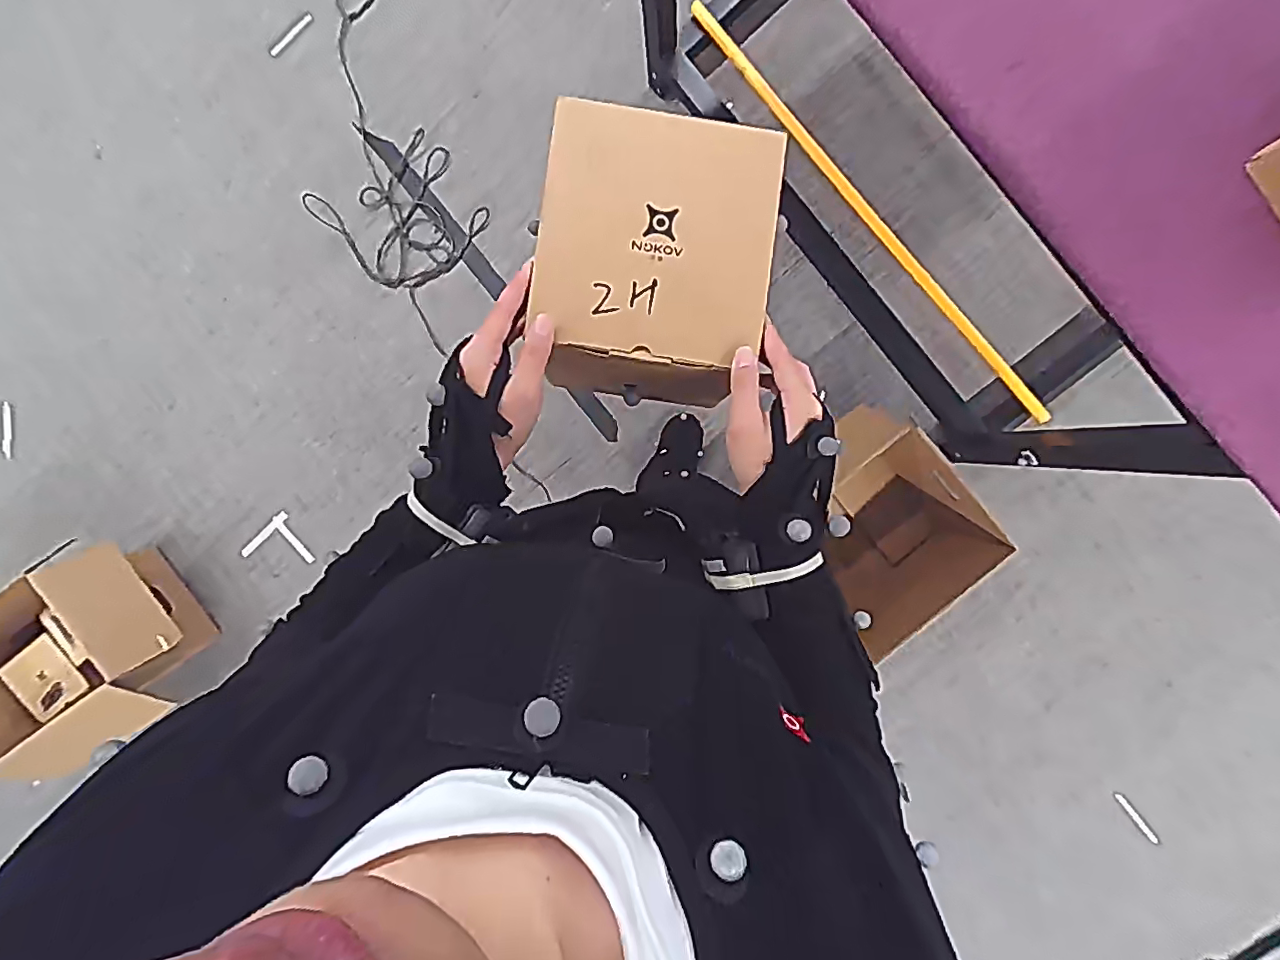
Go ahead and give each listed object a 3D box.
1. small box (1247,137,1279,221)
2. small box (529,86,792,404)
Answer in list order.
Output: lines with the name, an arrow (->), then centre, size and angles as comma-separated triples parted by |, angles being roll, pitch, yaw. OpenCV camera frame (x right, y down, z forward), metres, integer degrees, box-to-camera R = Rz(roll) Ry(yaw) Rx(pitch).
small box -> 0.746, -0.303, 0.489 | 0.168, 0.176, 0.179 | -34, 90, 4
small box -> 0.011, -0.173, 0.454 | 0.168, 0.176, 0.179 | 8, 88, -2
